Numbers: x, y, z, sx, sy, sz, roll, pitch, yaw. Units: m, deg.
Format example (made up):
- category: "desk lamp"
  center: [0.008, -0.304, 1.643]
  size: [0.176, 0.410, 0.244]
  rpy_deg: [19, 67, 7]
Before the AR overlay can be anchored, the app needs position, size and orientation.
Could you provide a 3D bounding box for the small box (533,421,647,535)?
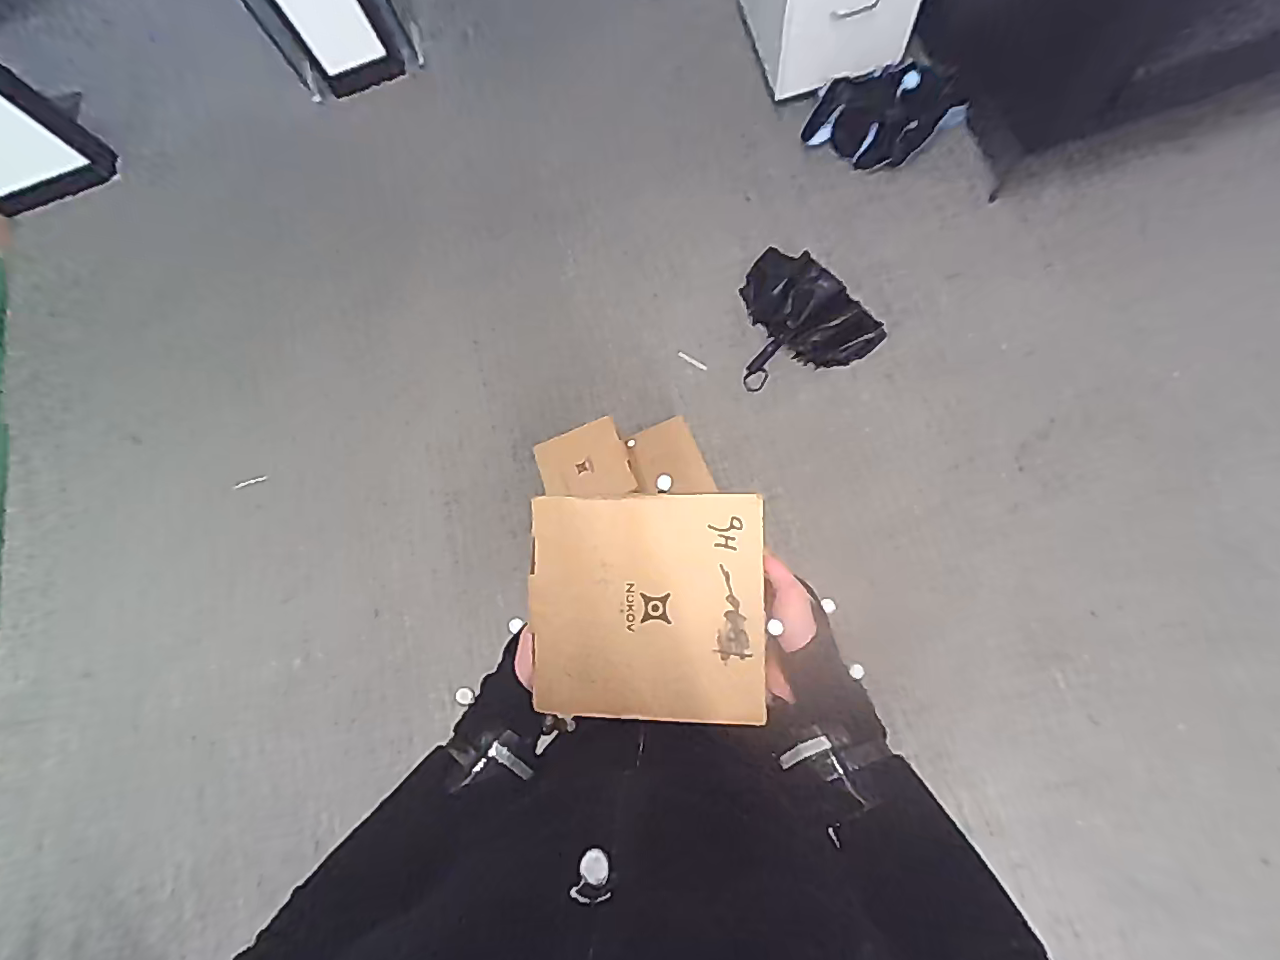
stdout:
- category: "small box"
  center: [-0.095, 0.004, 1.133]
  size: [0.179, 0.176, 0.168]
  rpy_deg: [-23, 72, 6]
